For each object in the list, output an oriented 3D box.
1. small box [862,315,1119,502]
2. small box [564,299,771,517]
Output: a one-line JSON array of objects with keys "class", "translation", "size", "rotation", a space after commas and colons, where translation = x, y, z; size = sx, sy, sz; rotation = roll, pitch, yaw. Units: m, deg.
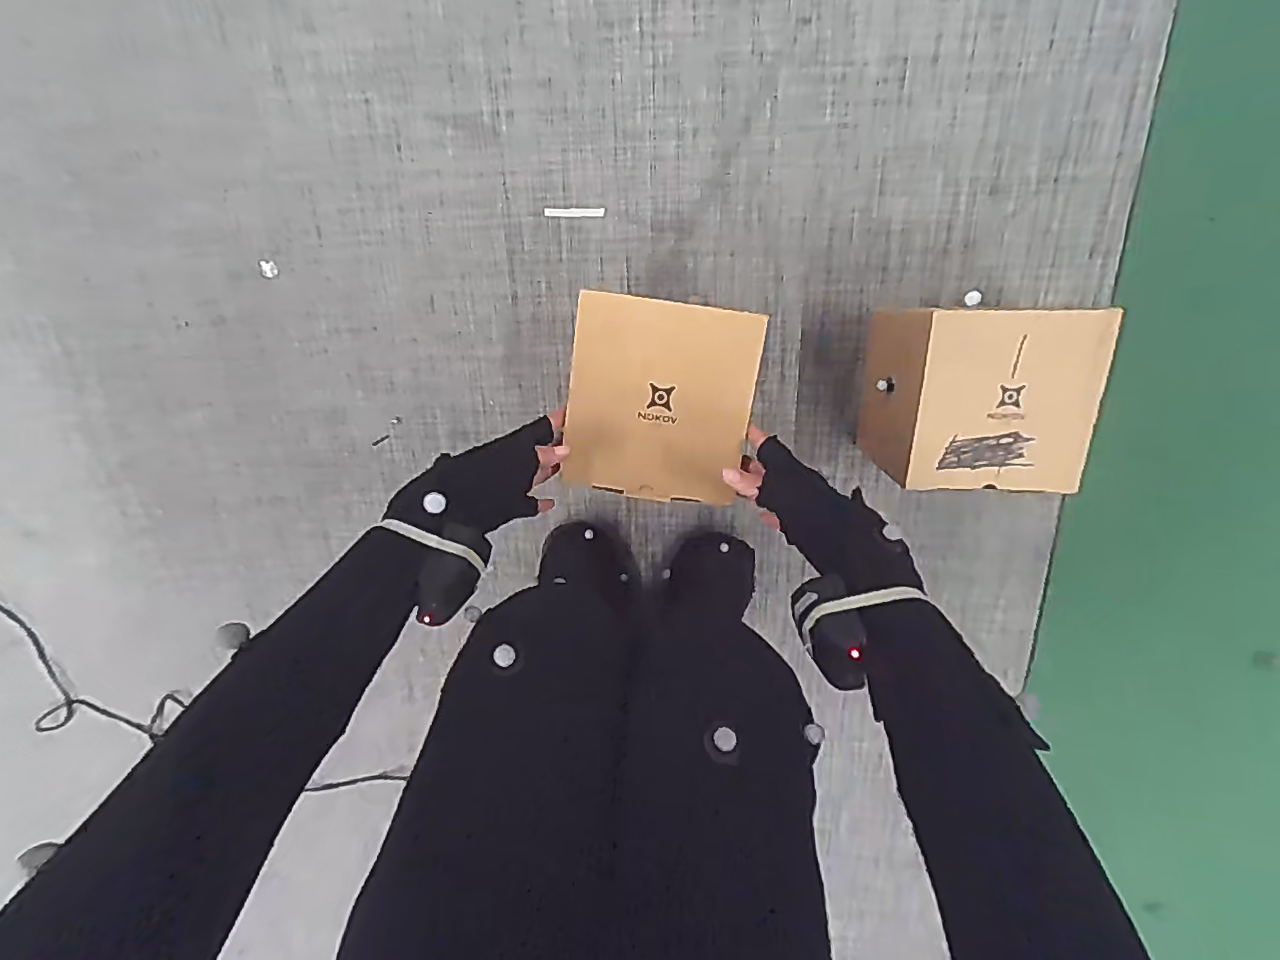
[{"class": "small box", "translation": [0.355, -0.087, 0.591], "size": [0.168, 0.176, 0.179], "rotation": [1, 107, 4]}, {"class": "small box", "translation": [0.023, -0.078, 0.558], "size": [0.168, 0.176, 0.179], "rotation": [8, 103, 0]}]
